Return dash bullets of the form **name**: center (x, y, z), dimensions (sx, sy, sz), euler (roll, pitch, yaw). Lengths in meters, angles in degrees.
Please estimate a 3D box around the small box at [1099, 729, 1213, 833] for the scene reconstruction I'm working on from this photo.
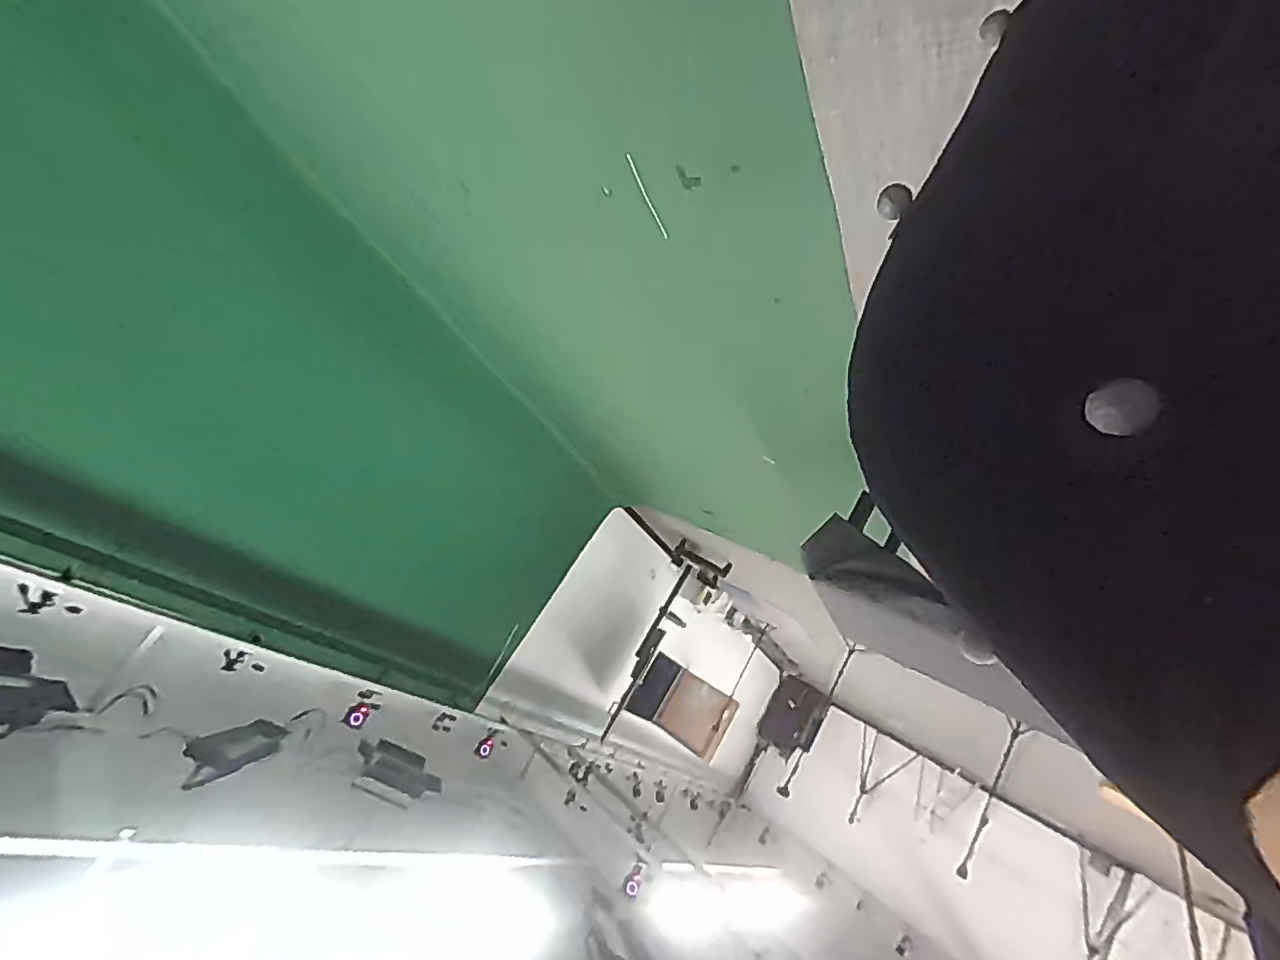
- **small box**: center (1.357, 0.790, 1.426), dimensions (0.179, 0.176, 0.168), euler (21, 161, 42)
